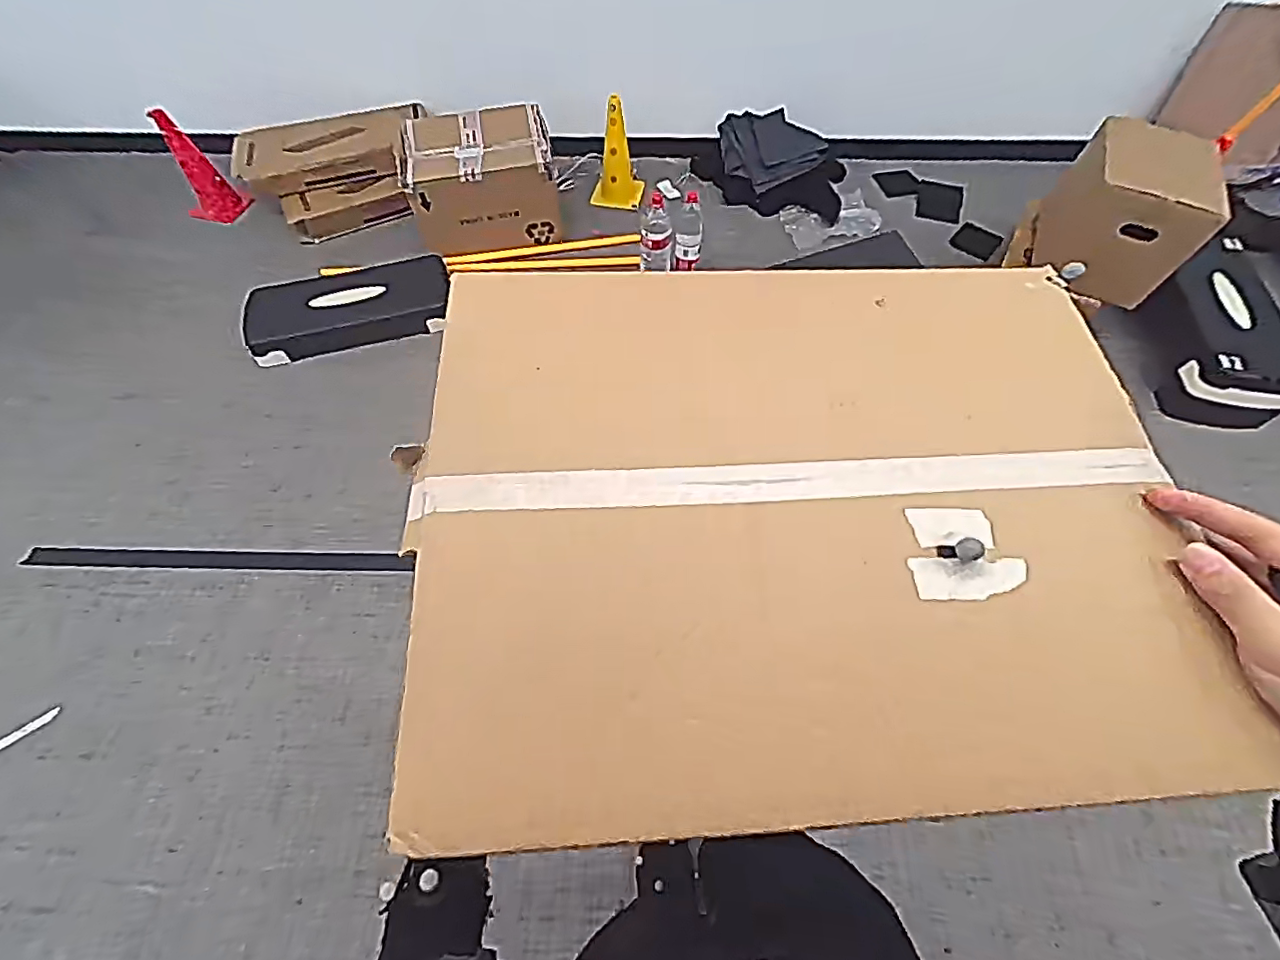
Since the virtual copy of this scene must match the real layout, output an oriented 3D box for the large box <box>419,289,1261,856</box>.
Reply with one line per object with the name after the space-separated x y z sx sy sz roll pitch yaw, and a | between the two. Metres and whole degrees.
0.081 0.074 0.438 0.408 0.320 0.320 -2 65 -5 | large box
